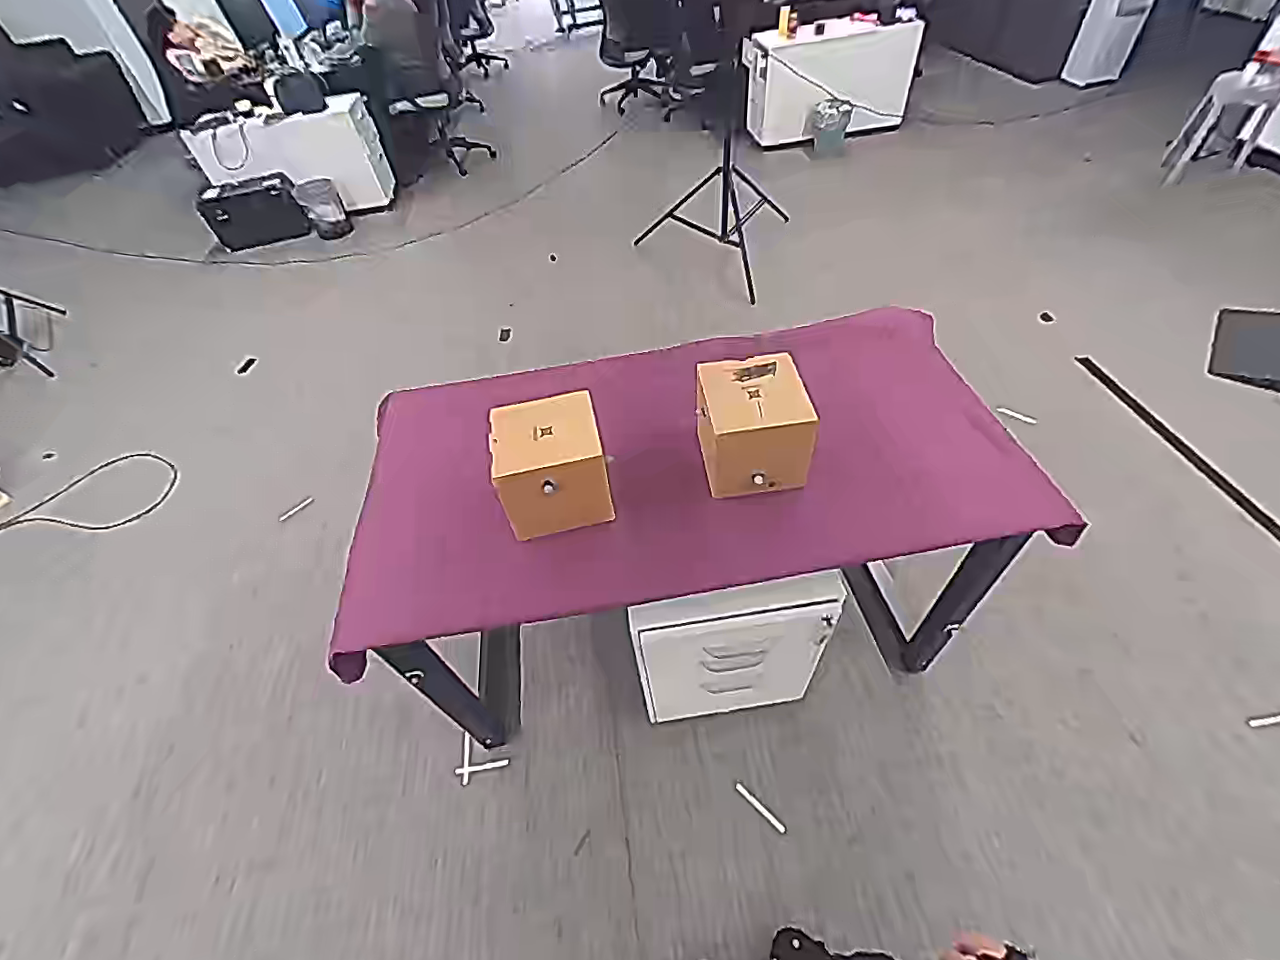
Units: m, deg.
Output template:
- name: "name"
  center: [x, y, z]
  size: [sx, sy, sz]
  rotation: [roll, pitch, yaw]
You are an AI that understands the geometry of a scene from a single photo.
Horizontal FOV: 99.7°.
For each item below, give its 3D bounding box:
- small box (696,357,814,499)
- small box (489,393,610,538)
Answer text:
- name: "small box"
  center: [0.192, -0.091, 0.959]
  size: [0.168, 0.176, 0.179]
  rotation: [-8, 50, 1]
- name: "small box"
  center: [-0.152, -0.022, 0.943]
  size: [0.179, 0.176, 0.168]
  rotation: [-13, 49, -3]
